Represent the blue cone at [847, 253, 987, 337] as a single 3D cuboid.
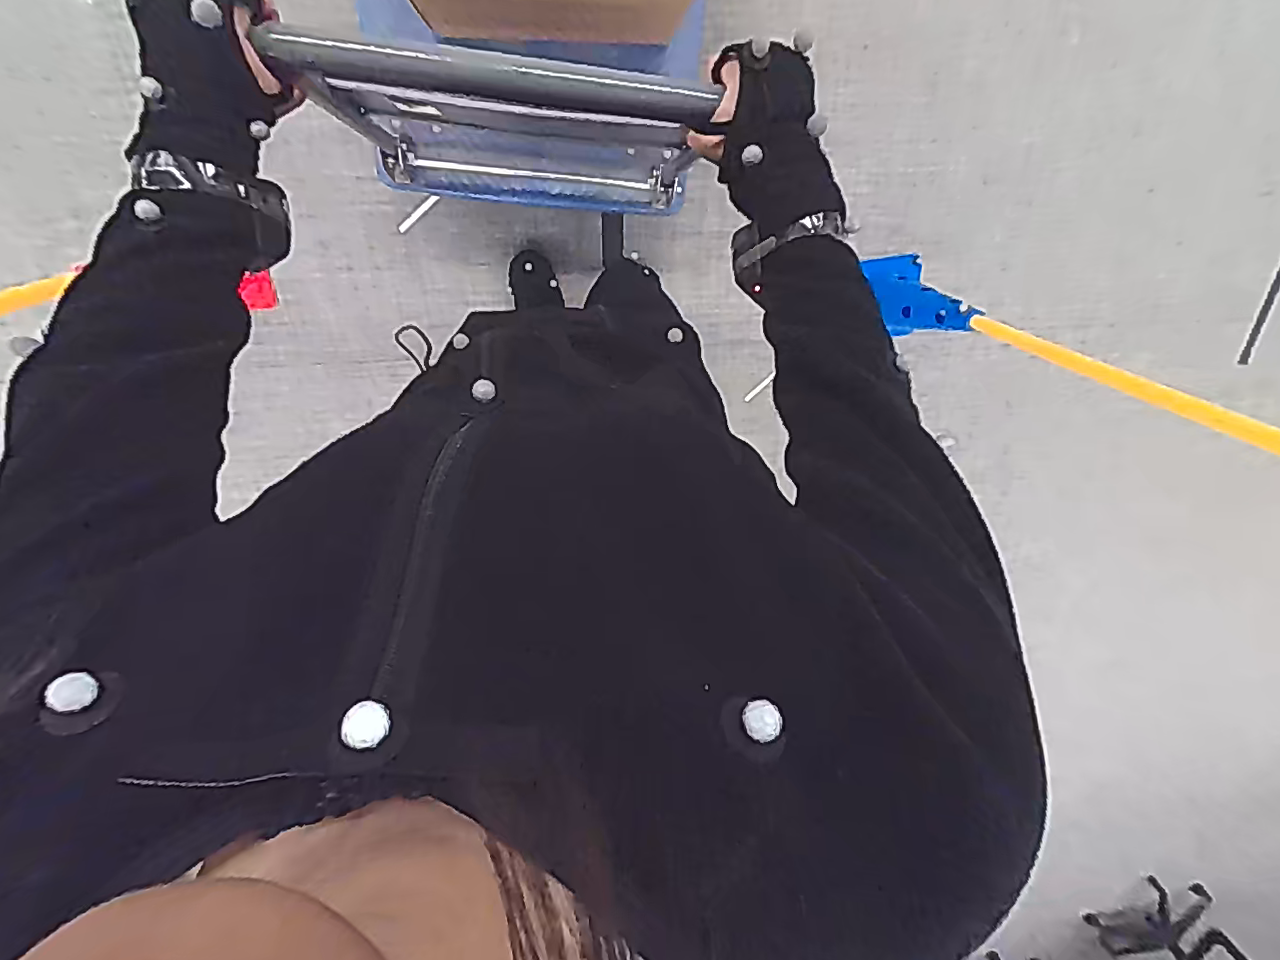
[{"bbox_3d":[0.636,-0.398,1.221,0.193,0.380,0.192,-7,115,-5],"label":"blue cone"}]
